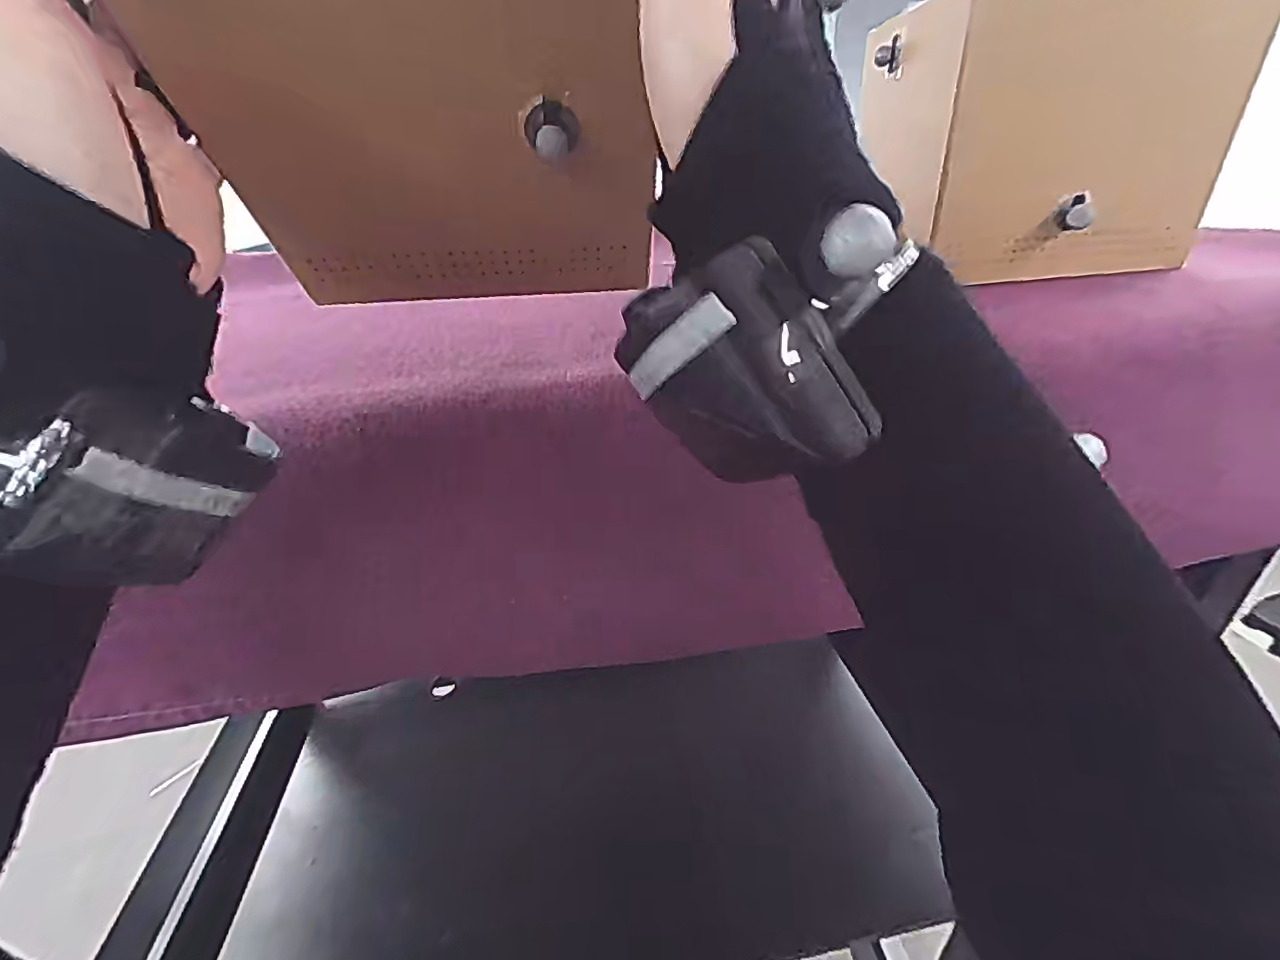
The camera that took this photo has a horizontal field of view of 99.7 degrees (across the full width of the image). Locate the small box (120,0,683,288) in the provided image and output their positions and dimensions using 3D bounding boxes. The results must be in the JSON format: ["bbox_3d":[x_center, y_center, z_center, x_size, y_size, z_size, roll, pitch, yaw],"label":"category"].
[{"bbox_3d":[-0.080,-0.206,0.237,0.179,0.176,0.168,-5,67,-5],"label":"small box"}]

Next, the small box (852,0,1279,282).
[{"bbox_3d":[0.275,-0.249,0.395,0.179,0.176,0.168,-3,30,2],"label":"small box"}]
